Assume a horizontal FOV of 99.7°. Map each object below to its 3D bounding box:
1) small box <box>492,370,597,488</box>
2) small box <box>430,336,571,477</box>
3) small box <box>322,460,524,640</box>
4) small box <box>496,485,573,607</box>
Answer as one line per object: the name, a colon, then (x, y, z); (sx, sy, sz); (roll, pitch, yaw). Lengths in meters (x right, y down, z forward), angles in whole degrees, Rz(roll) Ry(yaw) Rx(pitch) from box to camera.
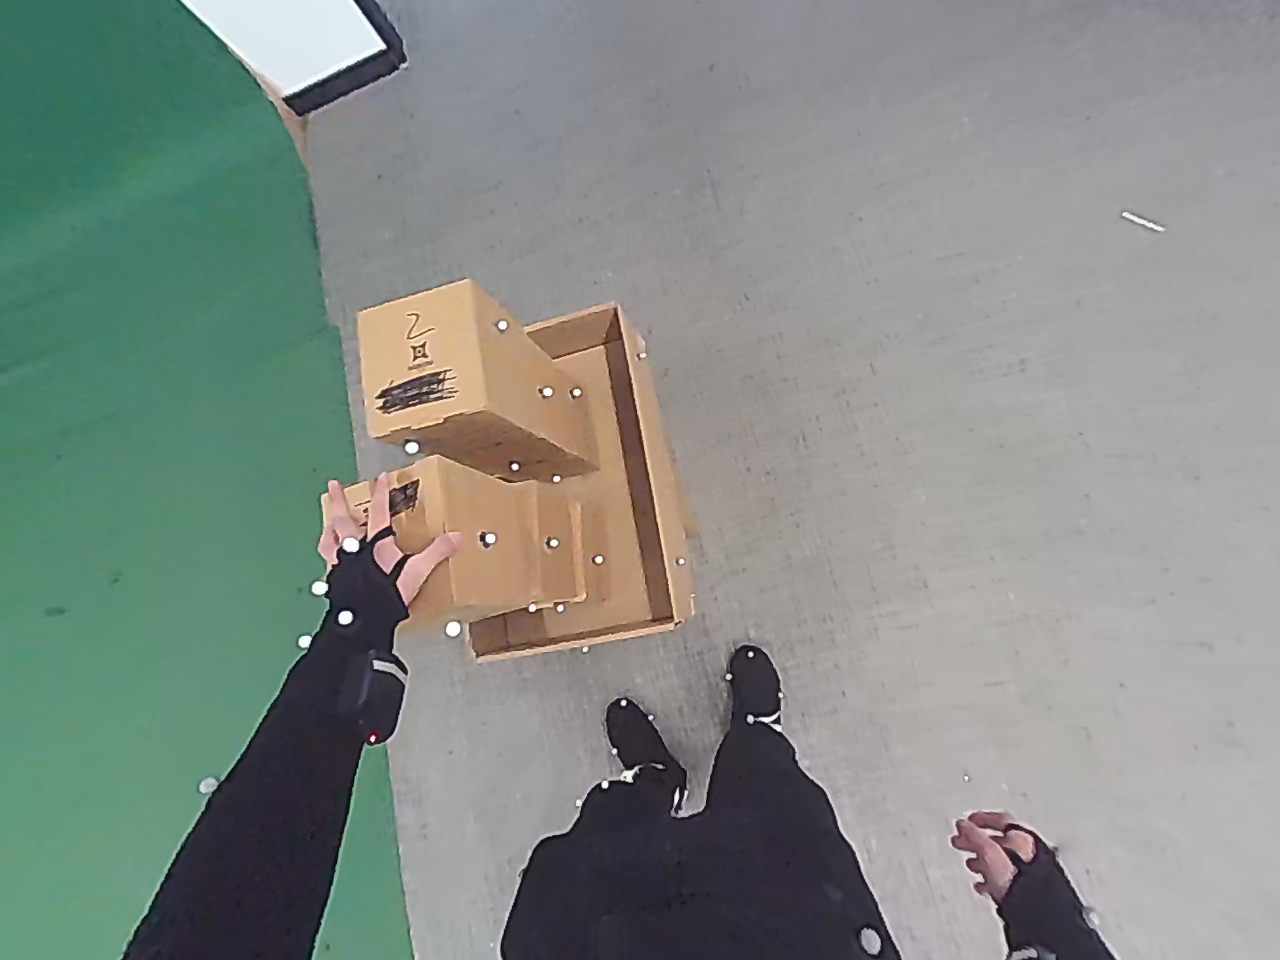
small box: (-0.196, -0.094, 1.077); (0.168, 0.176, 0.179); (-13, 79, 11)
small box: (-0.230, -0.115, 0.921); (0.168, 0.176, 0.179); (-13, 80, 9)
small box: (-0.267, 0.096, 0.686); (0.168, 0.176, 0.179); (-17, 74, 13)
small box: (-0.211, 0.114, 0.872); (0.168, 0.176, 0.179); (-7, 77, 11)
